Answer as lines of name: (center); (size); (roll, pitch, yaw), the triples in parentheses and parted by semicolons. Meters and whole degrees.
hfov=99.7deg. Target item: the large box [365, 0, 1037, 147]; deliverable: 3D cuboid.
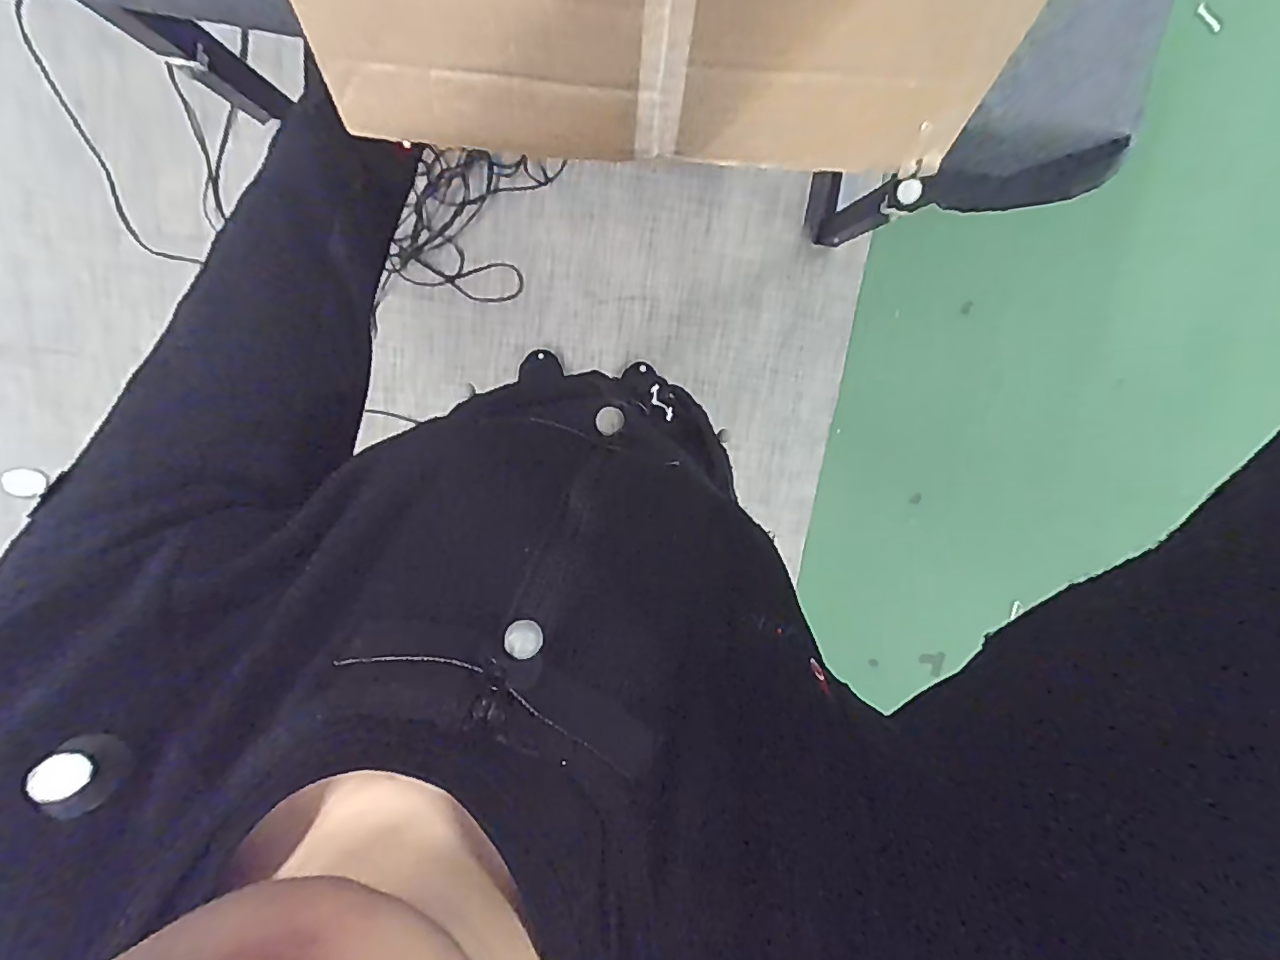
large box: (0.034, -0.402, 0.169); (0.320, 0.408, 0.320); (1, 70, -4)
